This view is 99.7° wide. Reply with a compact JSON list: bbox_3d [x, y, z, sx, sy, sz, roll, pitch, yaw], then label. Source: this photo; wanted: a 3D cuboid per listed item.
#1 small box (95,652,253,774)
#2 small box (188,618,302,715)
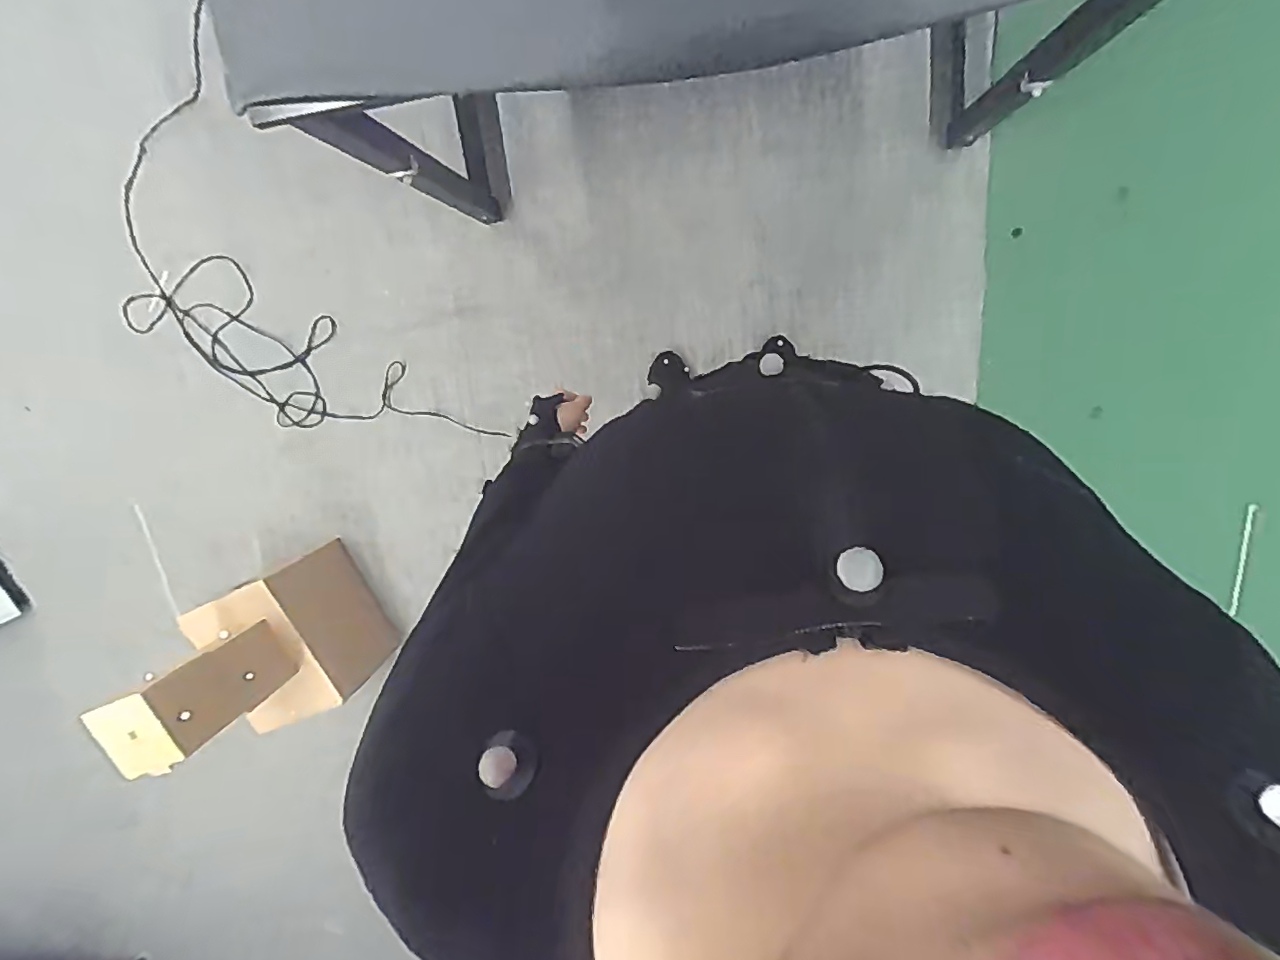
[{"bbox_3d":[-1.041,0.514,1.223,0.168,0.176,0.179,-22,102,11],"label":"small box"},{"bbox_3d":[-1.018,0.485,1.382,0.168,0.176,0.179,-23,101,11],"label":"small box"}]
